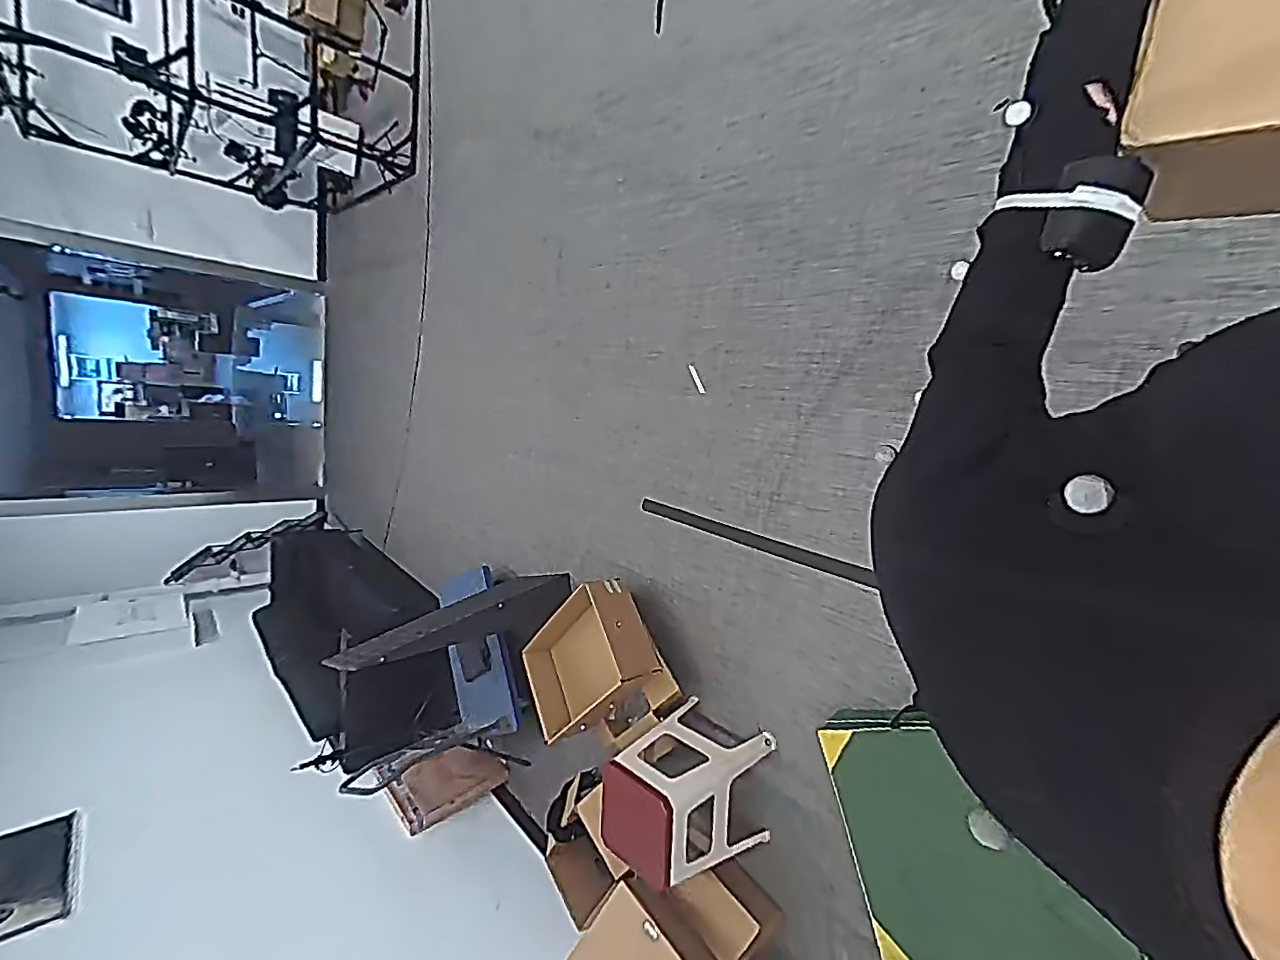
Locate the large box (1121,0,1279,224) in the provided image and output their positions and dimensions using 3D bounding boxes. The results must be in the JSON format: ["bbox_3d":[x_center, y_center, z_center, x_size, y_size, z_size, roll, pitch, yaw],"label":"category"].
[{"bbox_3d":[0.597,-0.367,0.327,0.408,0.320,0.320,17,112,42],"label":"large box"}]
